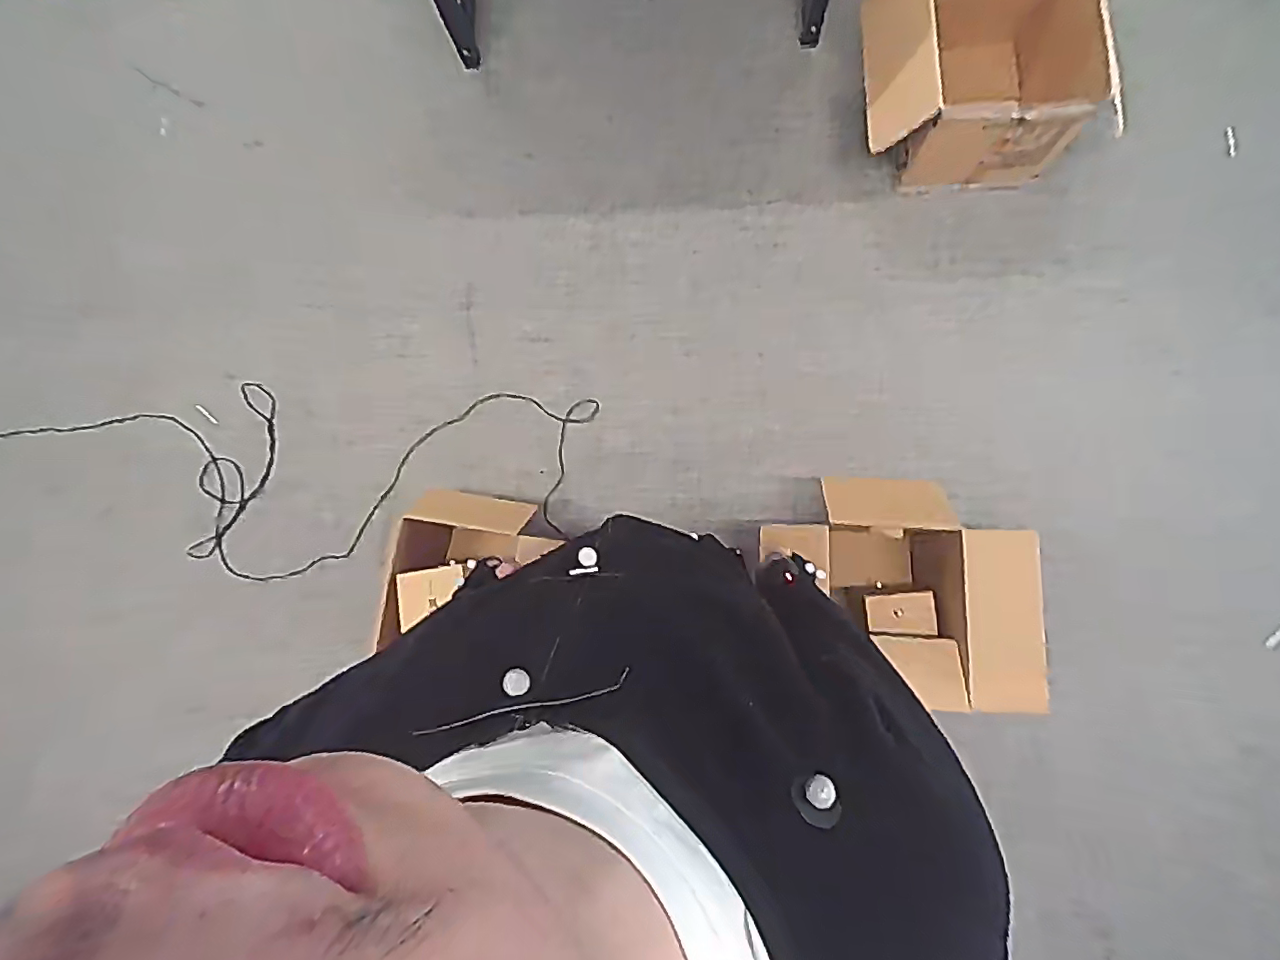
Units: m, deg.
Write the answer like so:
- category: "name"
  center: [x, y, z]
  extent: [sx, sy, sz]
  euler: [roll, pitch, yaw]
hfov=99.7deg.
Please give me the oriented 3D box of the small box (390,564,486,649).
- category: "small box"
  center: [-0.486, 0.303, 1.322]
  extent: [0.168, 0.176, 0.179]
  euler: [-6, 83, 3]
